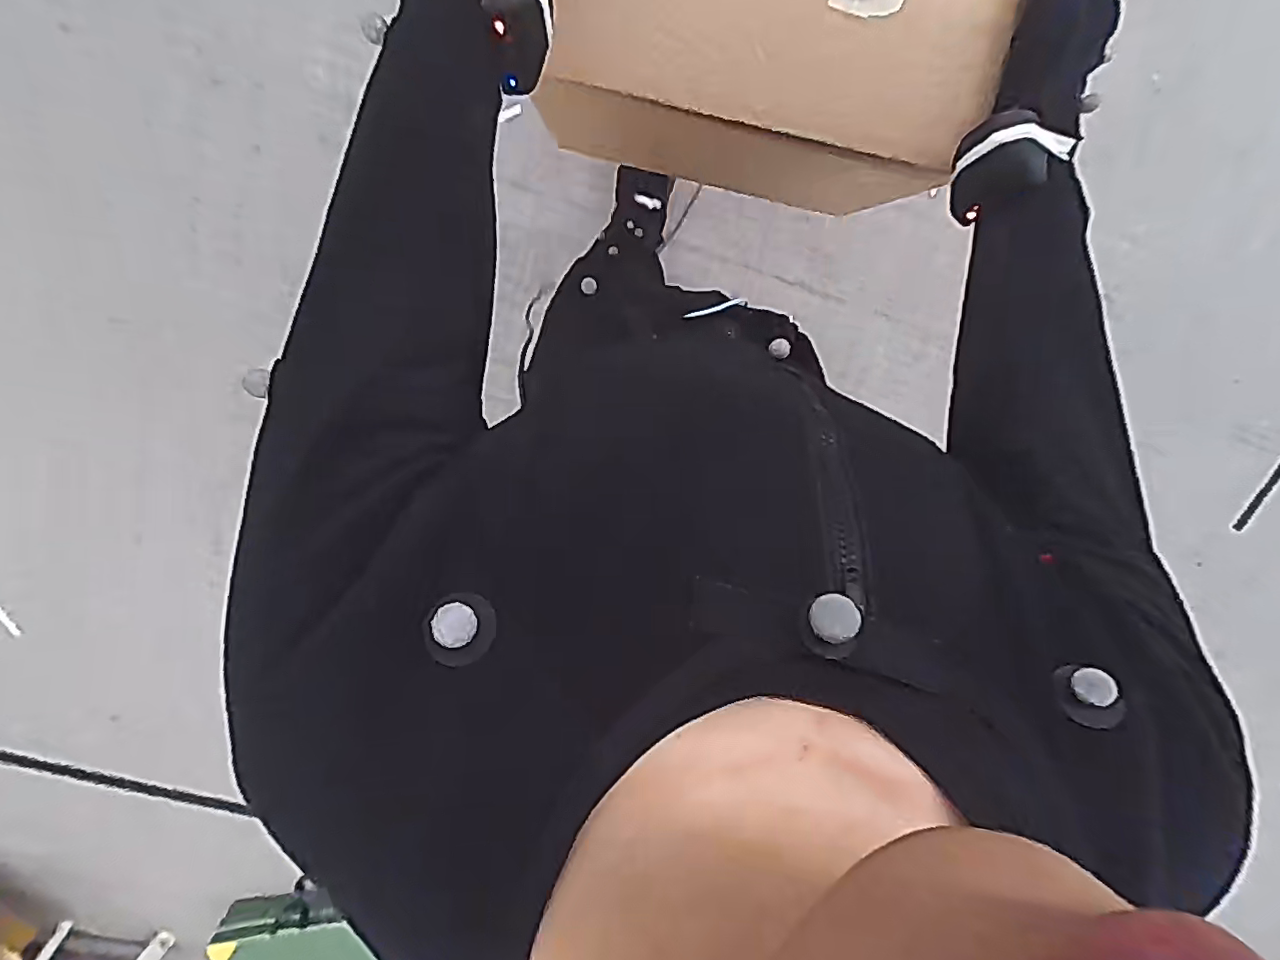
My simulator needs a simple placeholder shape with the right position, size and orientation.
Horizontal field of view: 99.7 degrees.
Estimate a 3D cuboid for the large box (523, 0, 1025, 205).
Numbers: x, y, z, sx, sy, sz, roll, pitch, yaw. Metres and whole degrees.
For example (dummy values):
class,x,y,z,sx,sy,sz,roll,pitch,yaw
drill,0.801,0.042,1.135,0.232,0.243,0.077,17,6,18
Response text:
class,x,y,z,sx,sy,sz,roll,pitch,yaw
large box,0.121,-0.507,0.550,0.408,0.320,0.320,11,111,-5
